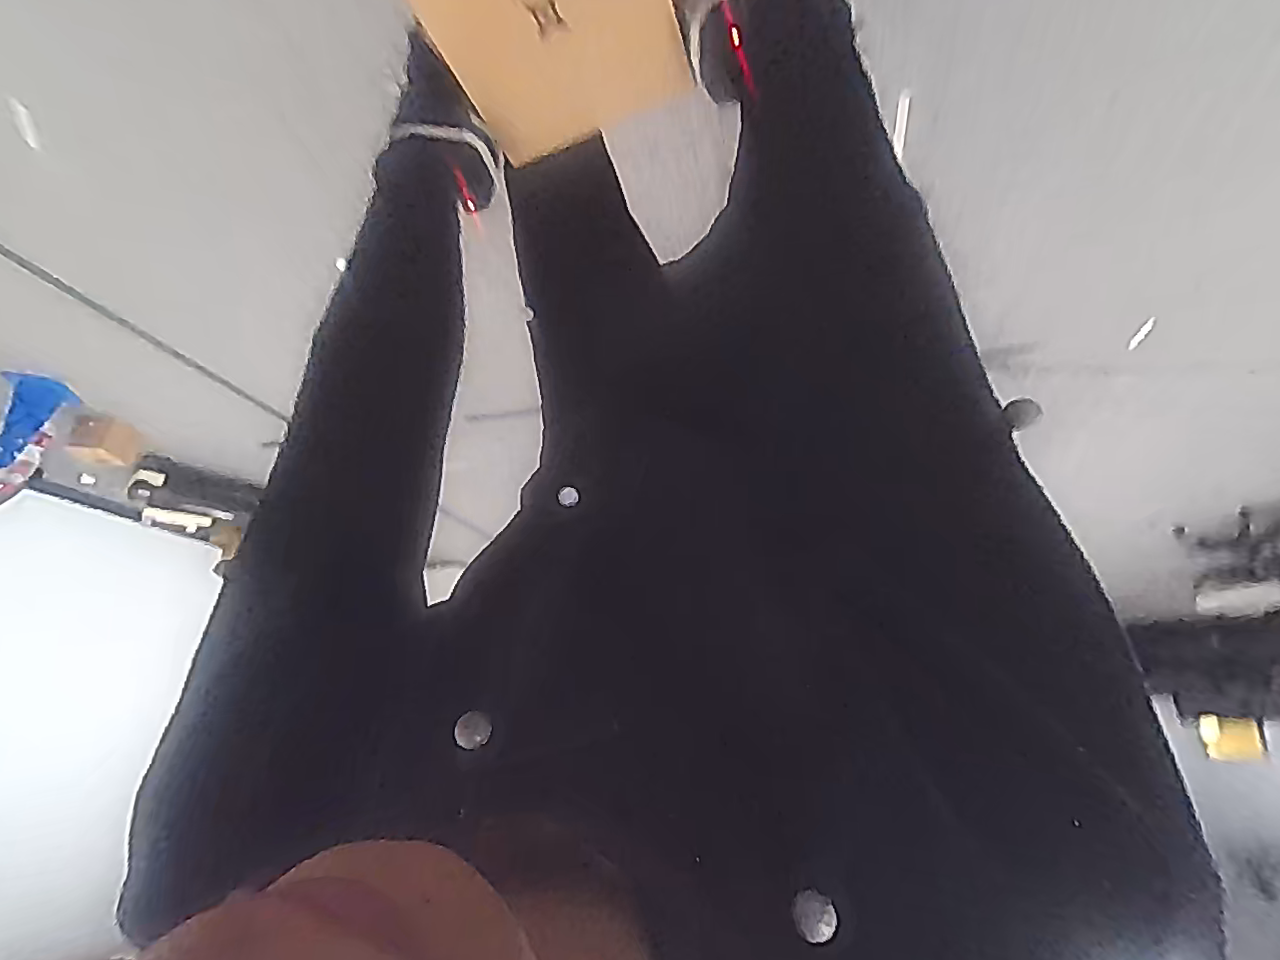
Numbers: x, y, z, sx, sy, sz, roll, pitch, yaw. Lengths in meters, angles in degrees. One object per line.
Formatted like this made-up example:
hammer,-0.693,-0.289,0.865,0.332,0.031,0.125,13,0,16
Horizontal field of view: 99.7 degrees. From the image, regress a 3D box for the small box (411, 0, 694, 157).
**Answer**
small box,-0.064,-0.393,0.396,0.168,0.176,0.179,-11,151,20
